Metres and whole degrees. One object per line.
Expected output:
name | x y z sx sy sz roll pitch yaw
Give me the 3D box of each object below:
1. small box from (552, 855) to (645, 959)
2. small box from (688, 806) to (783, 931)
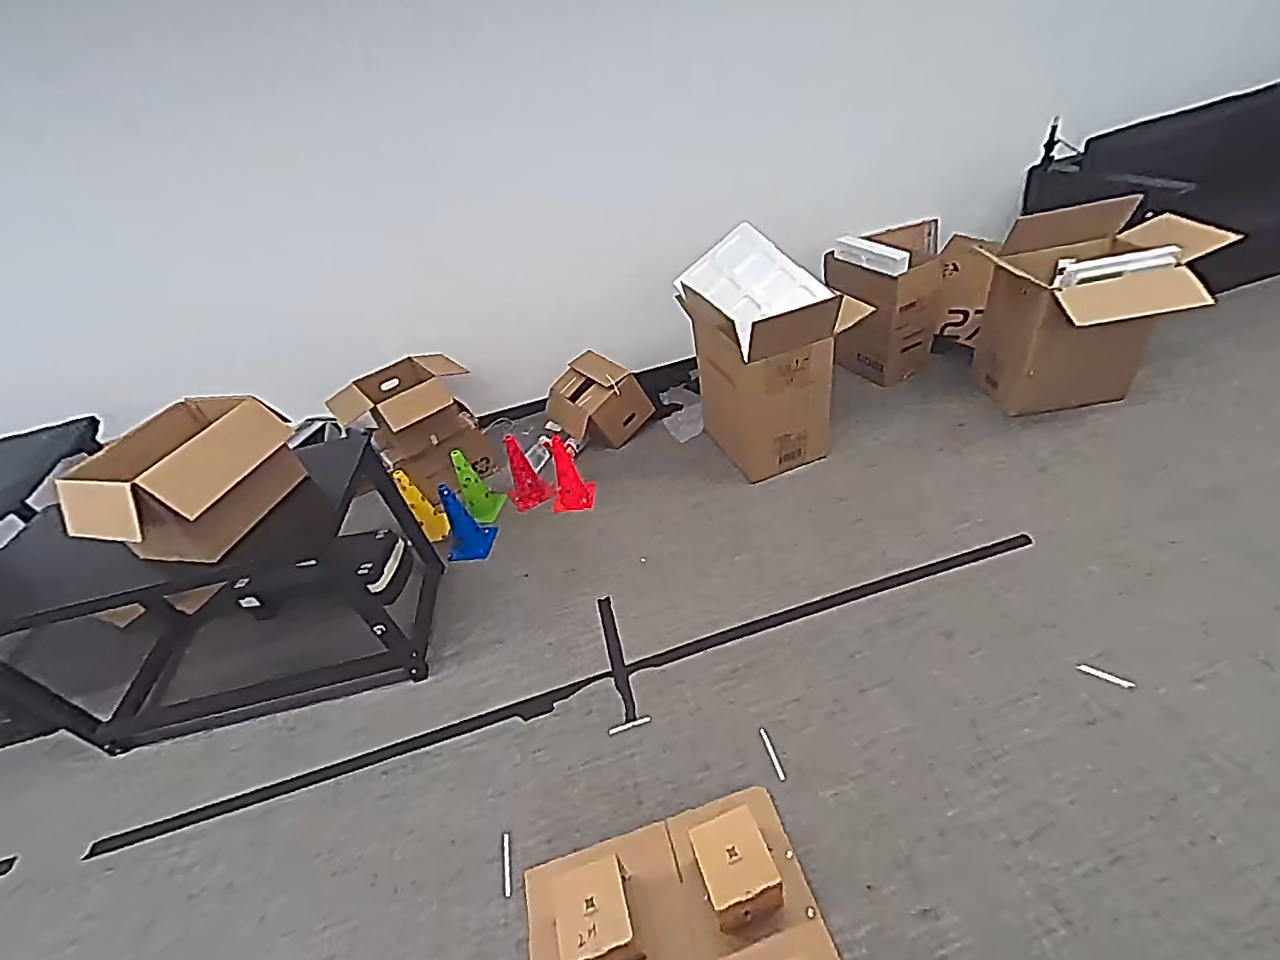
small box | -0.098 1.038 1.278 0.168 0.176 0.179 -18 39 -6
small box | 0.231 0.944 1.314 0.168 0.176 0.179 -20 39 -9
